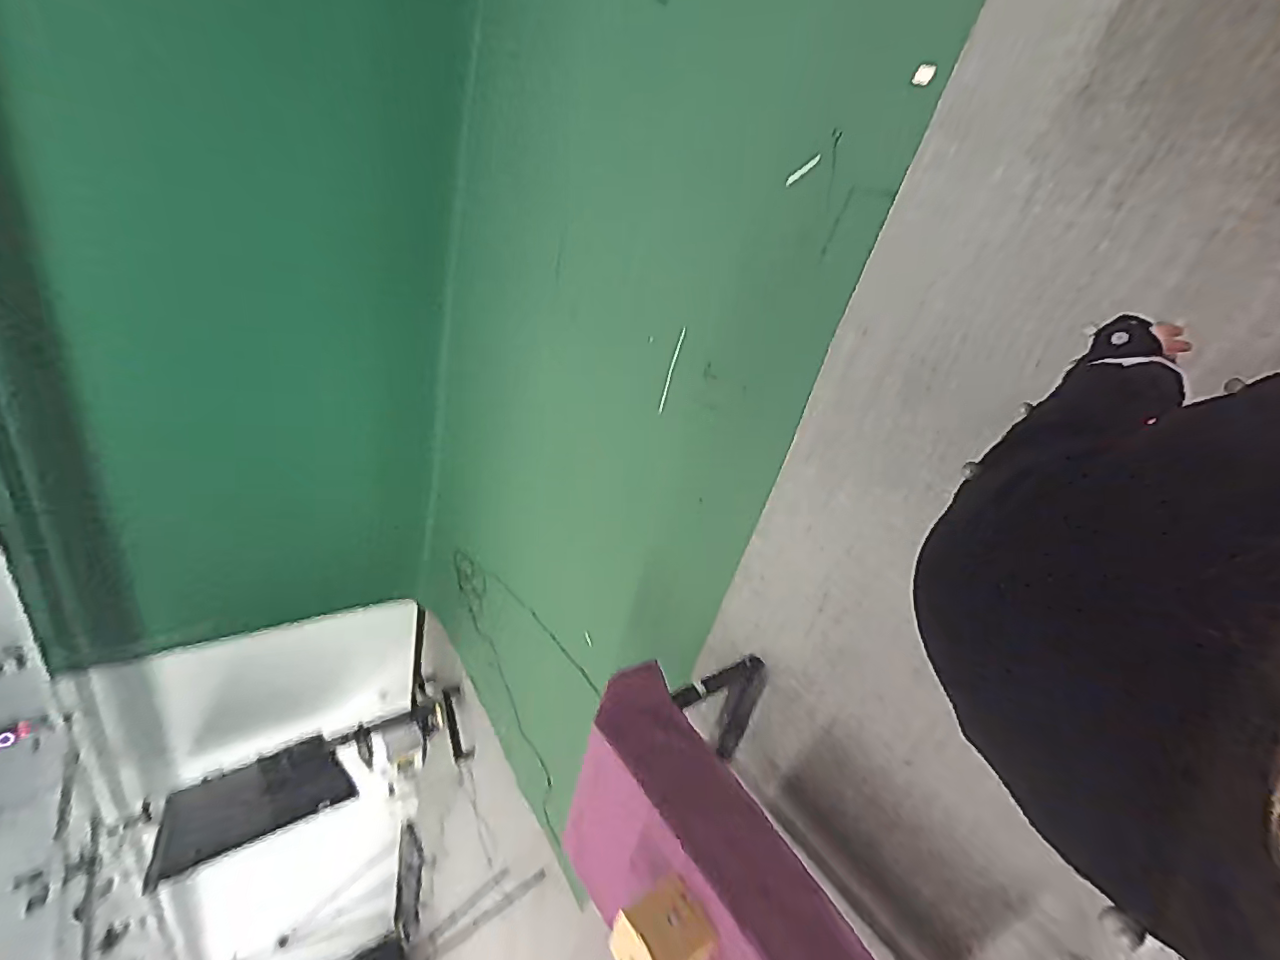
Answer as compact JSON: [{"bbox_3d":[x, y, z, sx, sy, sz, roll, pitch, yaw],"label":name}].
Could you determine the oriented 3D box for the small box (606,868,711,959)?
[{"bbox_3d":[0.047,1.090,1.300,0.168,0.176,0.179,38,124,41],"label":"small box"}]
